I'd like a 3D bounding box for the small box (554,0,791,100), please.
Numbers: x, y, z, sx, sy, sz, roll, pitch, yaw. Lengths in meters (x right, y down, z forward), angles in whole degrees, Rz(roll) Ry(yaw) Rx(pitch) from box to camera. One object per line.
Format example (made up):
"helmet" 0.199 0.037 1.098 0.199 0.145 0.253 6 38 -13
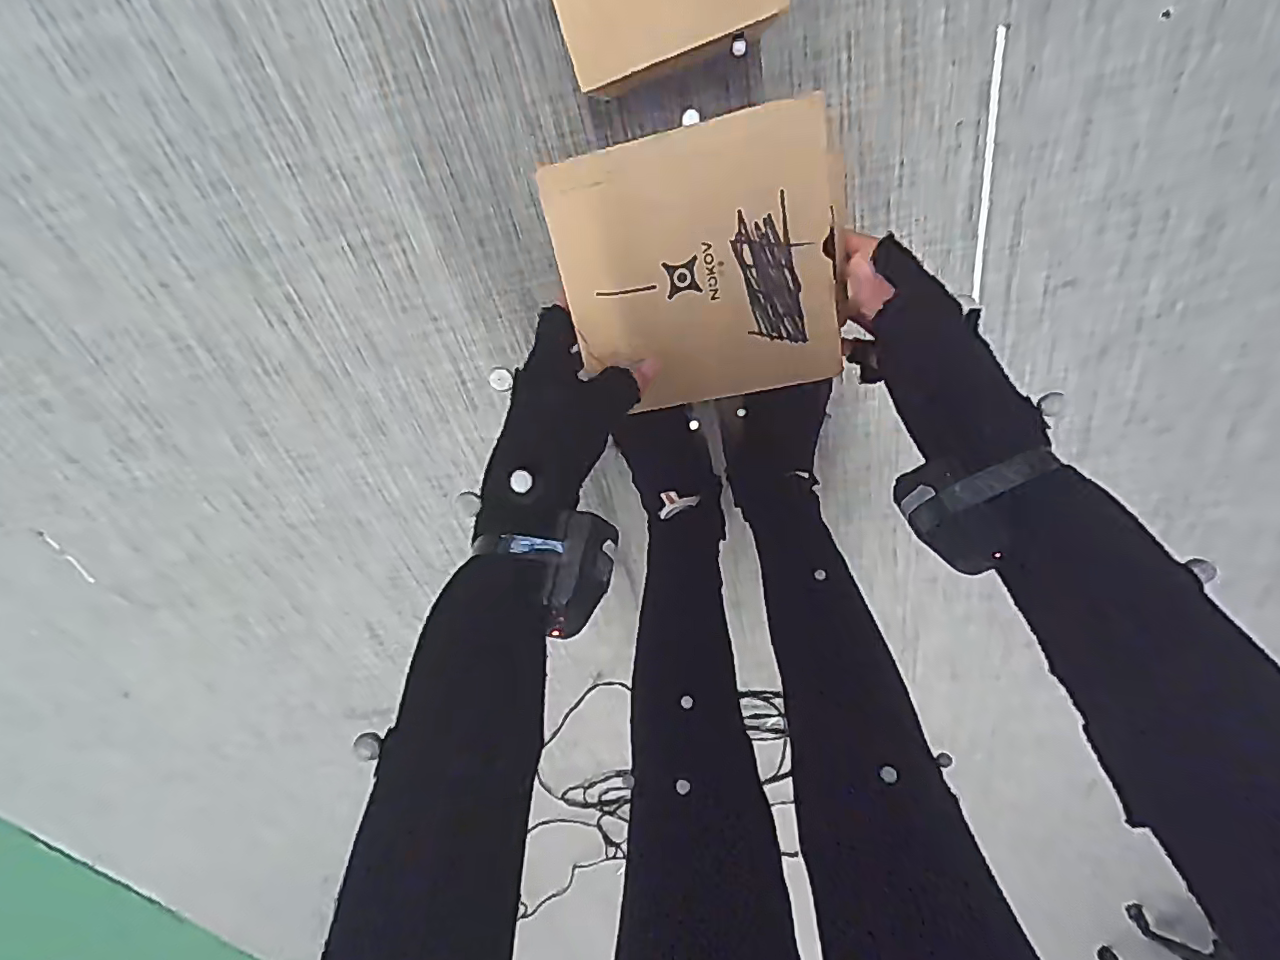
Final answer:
"small box" 0.014 -0.448 0.458 0.179 0.176 0.168 -15 121 11

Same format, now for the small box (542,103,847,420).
"small box" 0.047 -0.164 0.421 0.179 0.176 0.168 -9 114 12
